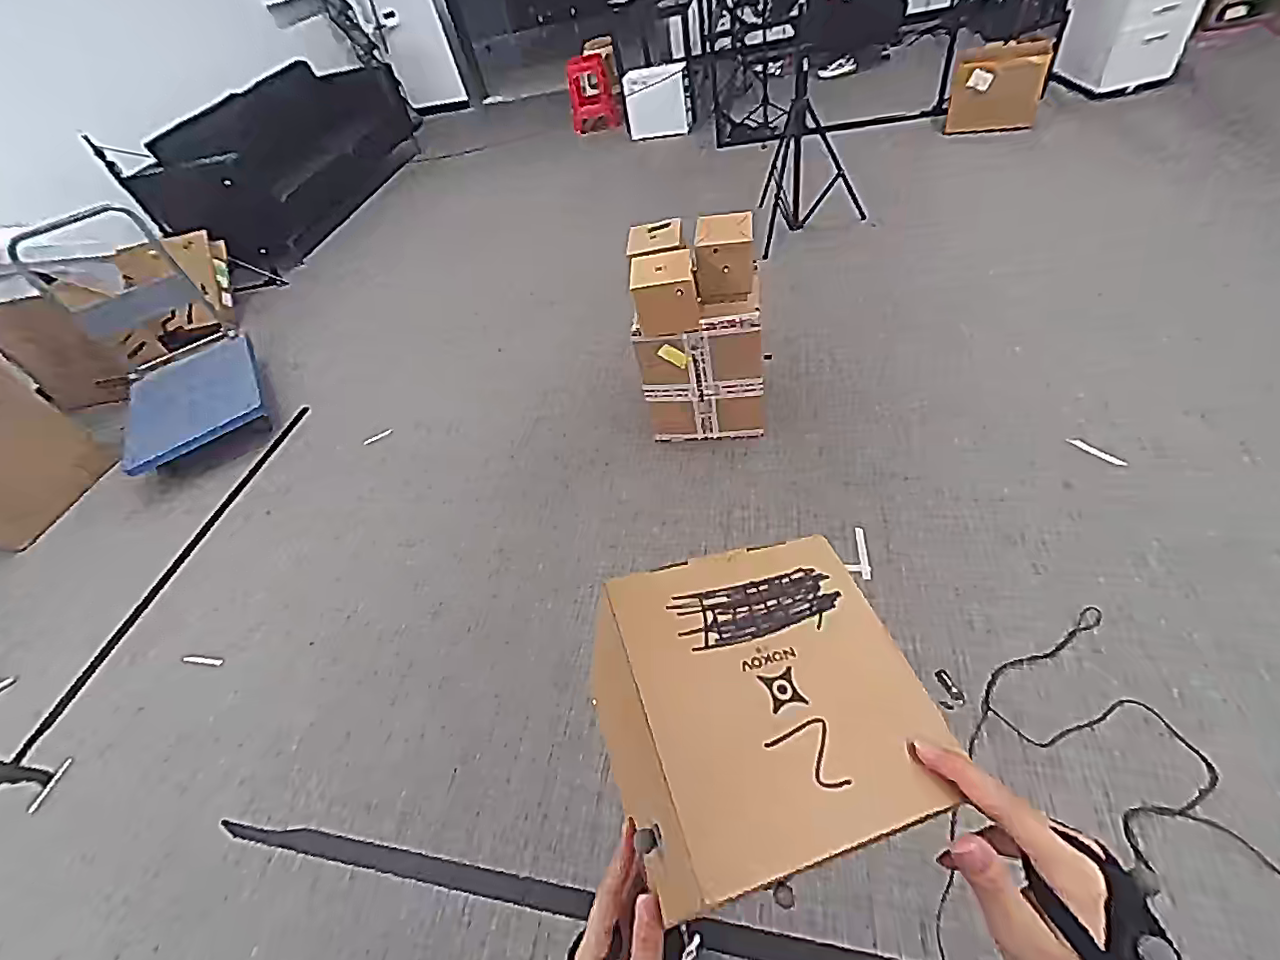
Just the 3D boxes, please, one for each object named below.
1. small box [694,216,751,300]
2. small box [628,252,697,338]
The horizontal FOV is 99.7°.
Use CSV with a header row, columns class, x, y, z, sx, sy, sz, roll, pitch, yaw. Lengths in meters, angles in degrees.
class,x,y,z,sx,sy,sz,roll,pitch,yaw
small box,0.255,-0.680,1.657,0.168,0.176,0.179,0,51,11
small box,0.069,-0.538,1.591,0.179,0.176,0.168,-6,51,9
